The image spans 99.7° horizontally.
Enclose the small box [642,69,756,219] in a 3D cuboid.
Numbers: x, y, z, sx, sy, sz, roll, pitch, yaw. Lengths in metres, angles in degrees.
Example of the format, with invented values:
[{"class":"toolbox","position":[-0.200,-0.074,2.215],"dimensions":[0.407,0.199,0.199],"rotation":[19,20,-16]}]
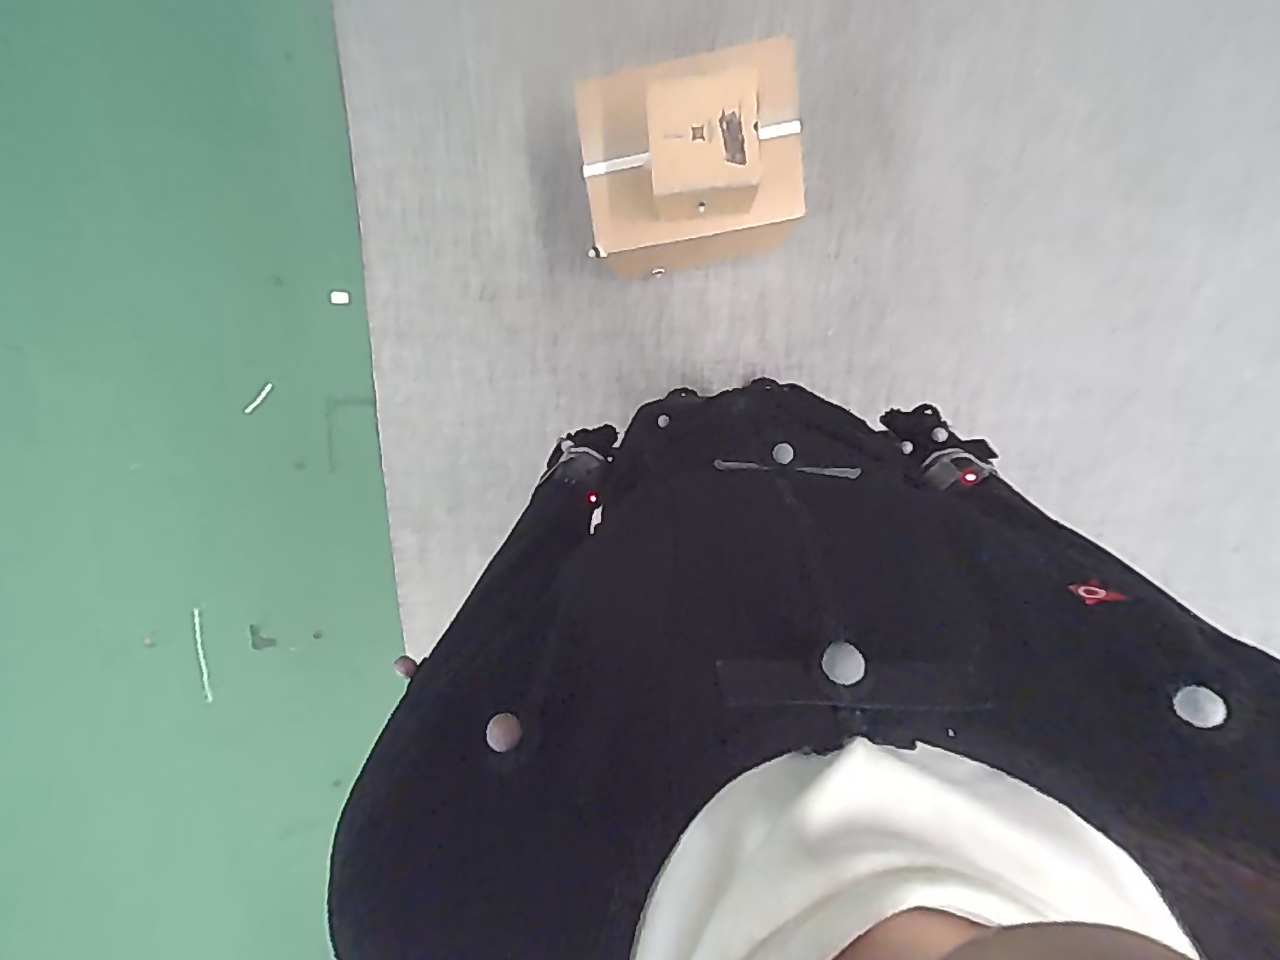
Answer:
[{"class":"small box","position":[0.102,-0.570,0.940],"dimensions":[0.179,0.176,0.168],"rotation":[-3,101,7]}]
